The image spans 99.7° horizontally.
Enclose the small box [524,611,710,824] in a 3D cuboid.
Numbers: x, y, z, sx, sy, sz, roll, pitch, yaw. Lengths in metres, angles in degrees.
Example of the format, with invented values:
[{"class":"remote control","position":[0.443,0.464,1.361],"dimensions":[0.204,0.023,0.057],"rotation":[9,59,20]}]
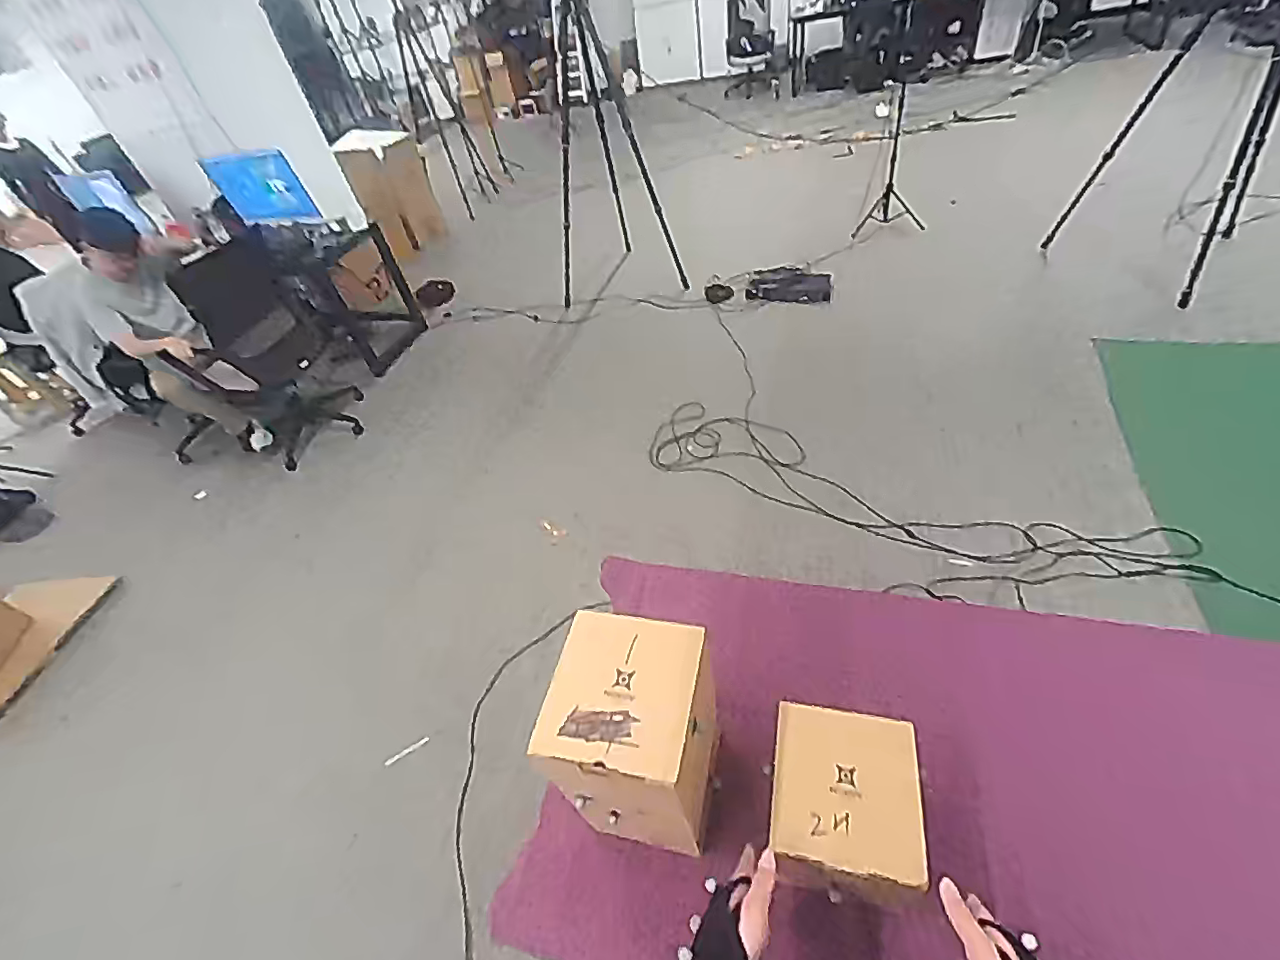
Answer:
[{"class":"small box","position":[-0.011,0.288,0.657],"dimensions":[0.168,0.176,0.179],"rotation":[4,46,17]}]

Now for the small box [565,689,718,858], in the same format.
[{"class":"small box","position":[0.015,0.402,0.771],"dimensions":[0.168,0.176,0.179],"rotation":[3,46,18]}]

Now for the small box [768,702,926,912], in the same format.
[{"class":"small box","position":[0.256,0.418,0.696],"dimensions":[0.168,0.176,0.179],"rotation":[3,47,18]}]
